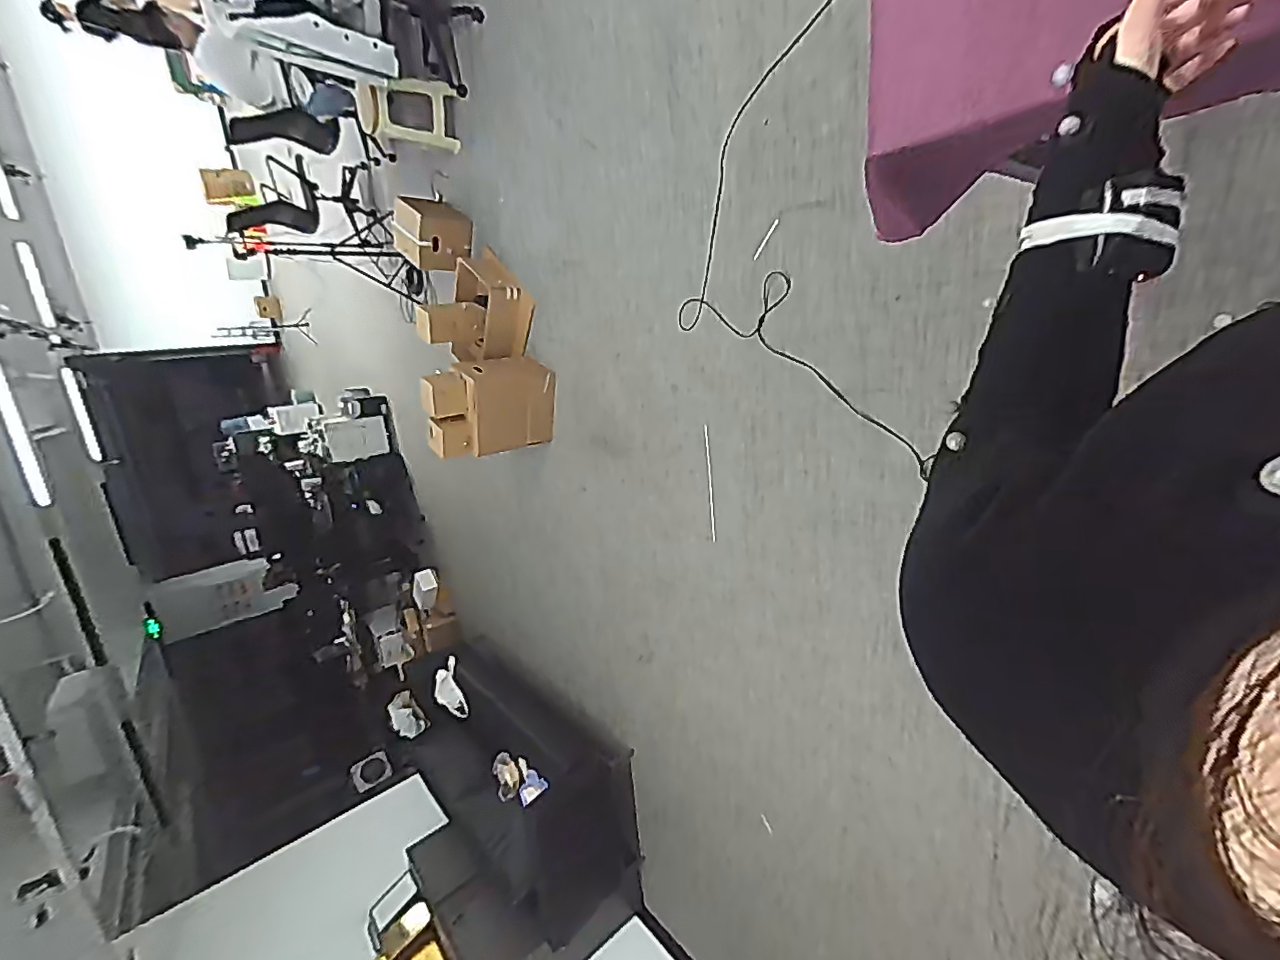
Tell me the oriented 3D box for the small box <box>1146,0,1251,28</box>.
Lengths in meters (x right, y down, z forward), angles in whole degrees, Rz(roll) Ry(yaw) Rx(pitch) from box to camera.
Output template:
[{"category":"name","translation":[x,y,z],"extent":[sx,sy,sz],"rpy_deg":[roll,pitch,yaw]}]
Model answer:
[{"category":"small box","translation":[0.499,-0.503,0.412],"extent":[0.168,0.176,0.179],"rpy_deg":[10,111,49]}]
